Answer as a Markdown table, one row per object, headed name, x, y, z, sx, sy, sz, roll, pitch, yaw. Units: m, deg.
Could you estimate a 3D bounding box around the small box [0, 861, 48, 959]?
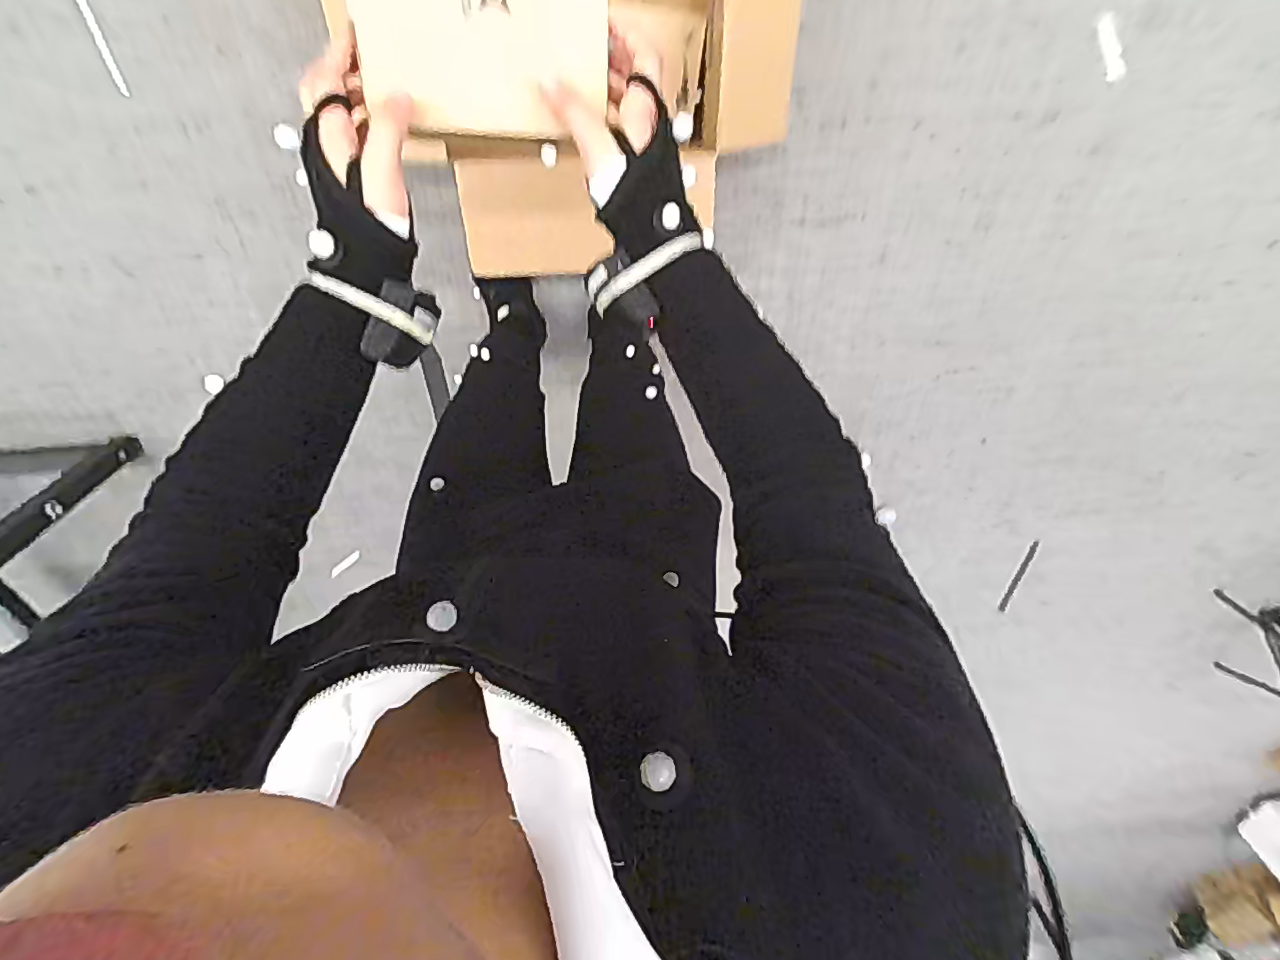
| name | x | y | z | sx | sy | sz | roll | pitch | yaw |
| --- | --- | --- | --- | --- | --- | --- | --- | --- | --- |
| small box | -1.403 | 0.897 | 1.101 | 0.168 | 0.176 | 0.179 | -2 | 127 | -2 |
